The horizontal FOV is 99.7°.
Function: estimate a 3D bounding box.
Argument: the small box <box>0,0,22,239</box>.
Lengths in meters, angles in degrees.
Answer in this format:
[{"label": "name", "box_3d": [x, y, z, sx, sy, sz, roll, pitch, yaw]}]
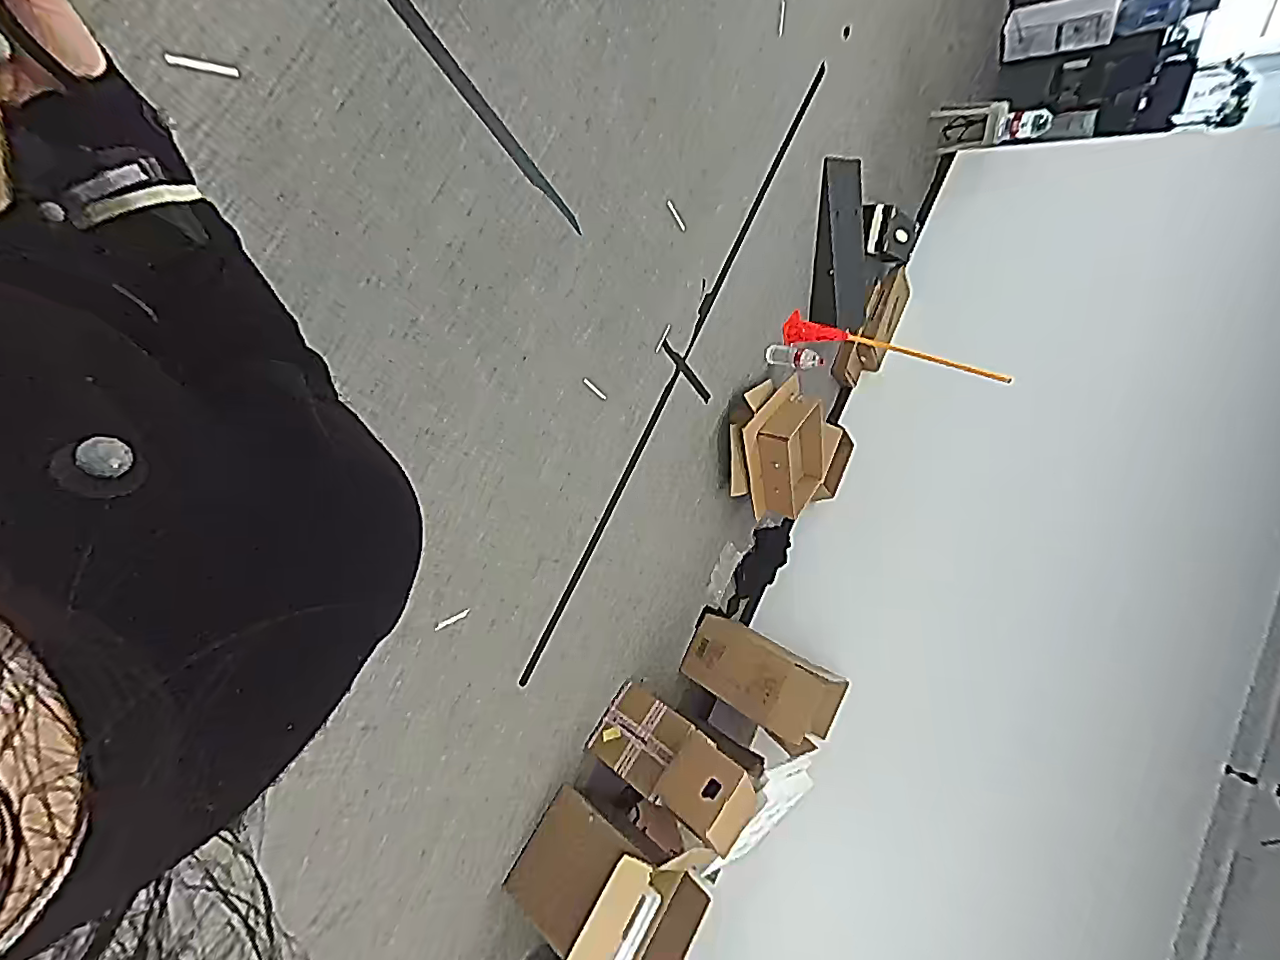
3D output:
[{"label": "small box", "box_3d": [-0.368, -0.208, 0.199, 0.168, 0.176, 0.179, -5, 121, -42]}]
